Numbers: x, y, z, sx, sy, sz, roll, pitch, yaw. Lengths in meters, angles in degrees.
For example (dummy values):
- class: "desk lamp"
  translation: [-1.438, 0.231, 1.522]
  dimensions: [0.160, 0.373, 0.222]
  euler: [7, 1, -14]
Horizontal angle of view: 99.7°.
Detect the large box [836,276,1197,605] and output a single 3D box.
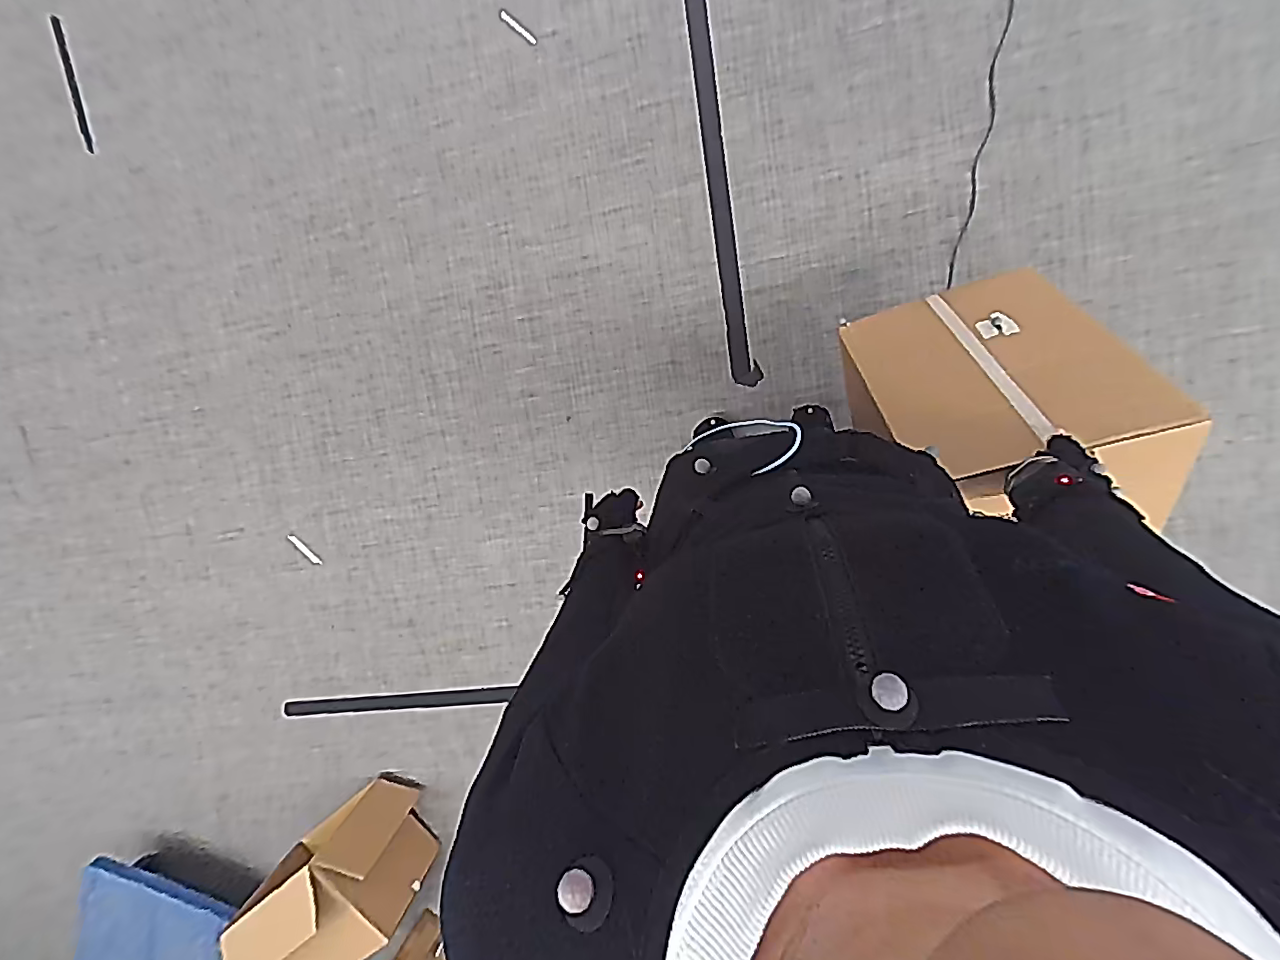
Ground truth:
- class: "large box"
  translation: [0.555, -0.067, 0.898]
  dimensions: [0.320, 0.408, 0.320]
  euler: [-15, 132, 13]
